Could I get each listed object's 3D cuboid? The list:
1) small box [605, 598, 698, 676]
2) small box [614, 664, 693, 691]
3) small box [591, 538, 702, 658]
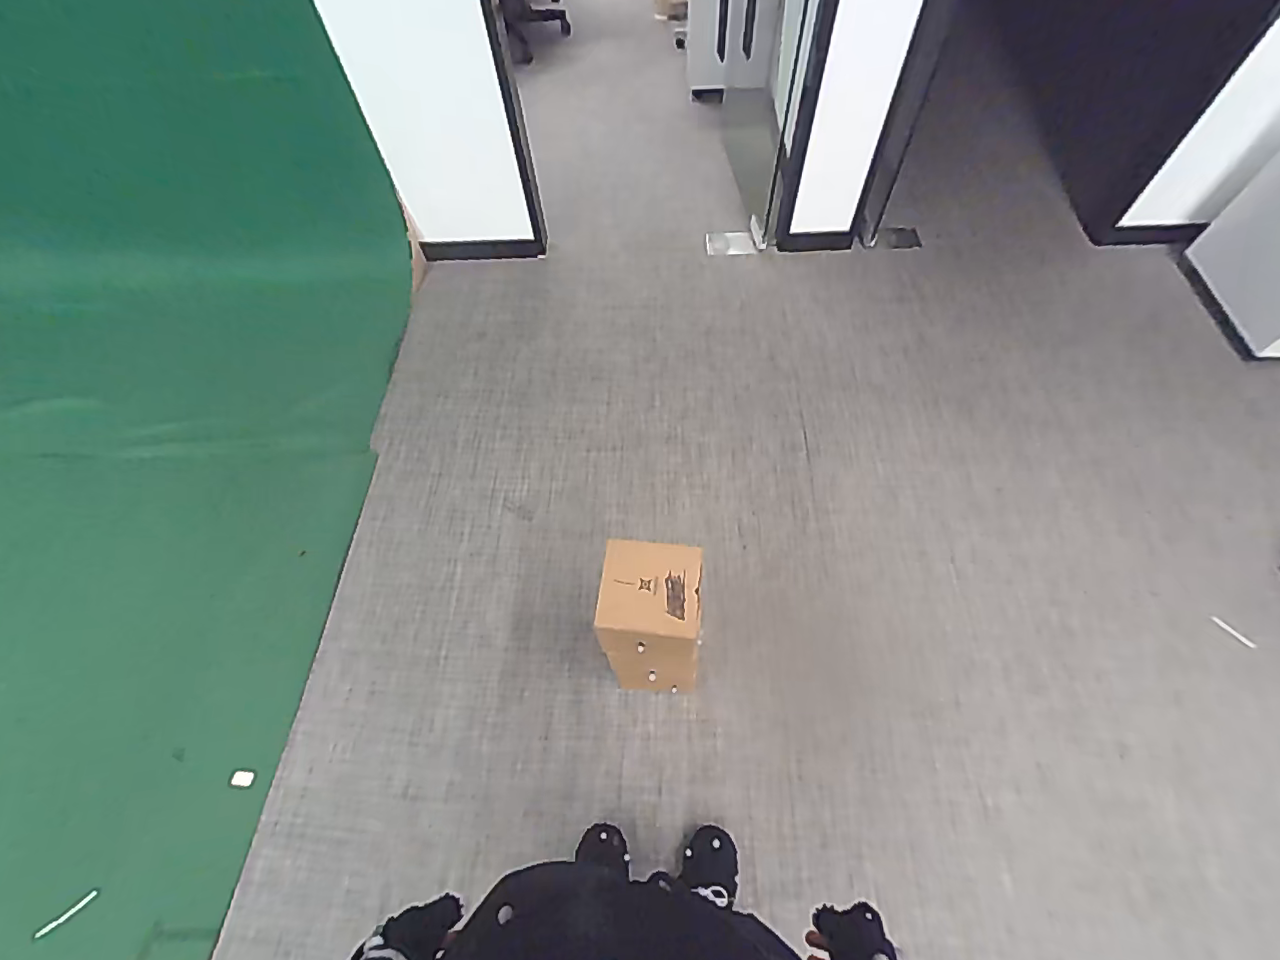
[{"bbox_3d":[0.028,0.313,1.153,0.179,0.176,0.168,4,59,5],"label":"small box"},{"bbox_3d":[0.038,0.401,1.291,0.179,0.176,0.168,2,58,5],"label":"small box"},{"bbox_3d":[0.019,0.226,1.013,0.179,0.176,0.168,5,59,8],"label":"small box"}]
